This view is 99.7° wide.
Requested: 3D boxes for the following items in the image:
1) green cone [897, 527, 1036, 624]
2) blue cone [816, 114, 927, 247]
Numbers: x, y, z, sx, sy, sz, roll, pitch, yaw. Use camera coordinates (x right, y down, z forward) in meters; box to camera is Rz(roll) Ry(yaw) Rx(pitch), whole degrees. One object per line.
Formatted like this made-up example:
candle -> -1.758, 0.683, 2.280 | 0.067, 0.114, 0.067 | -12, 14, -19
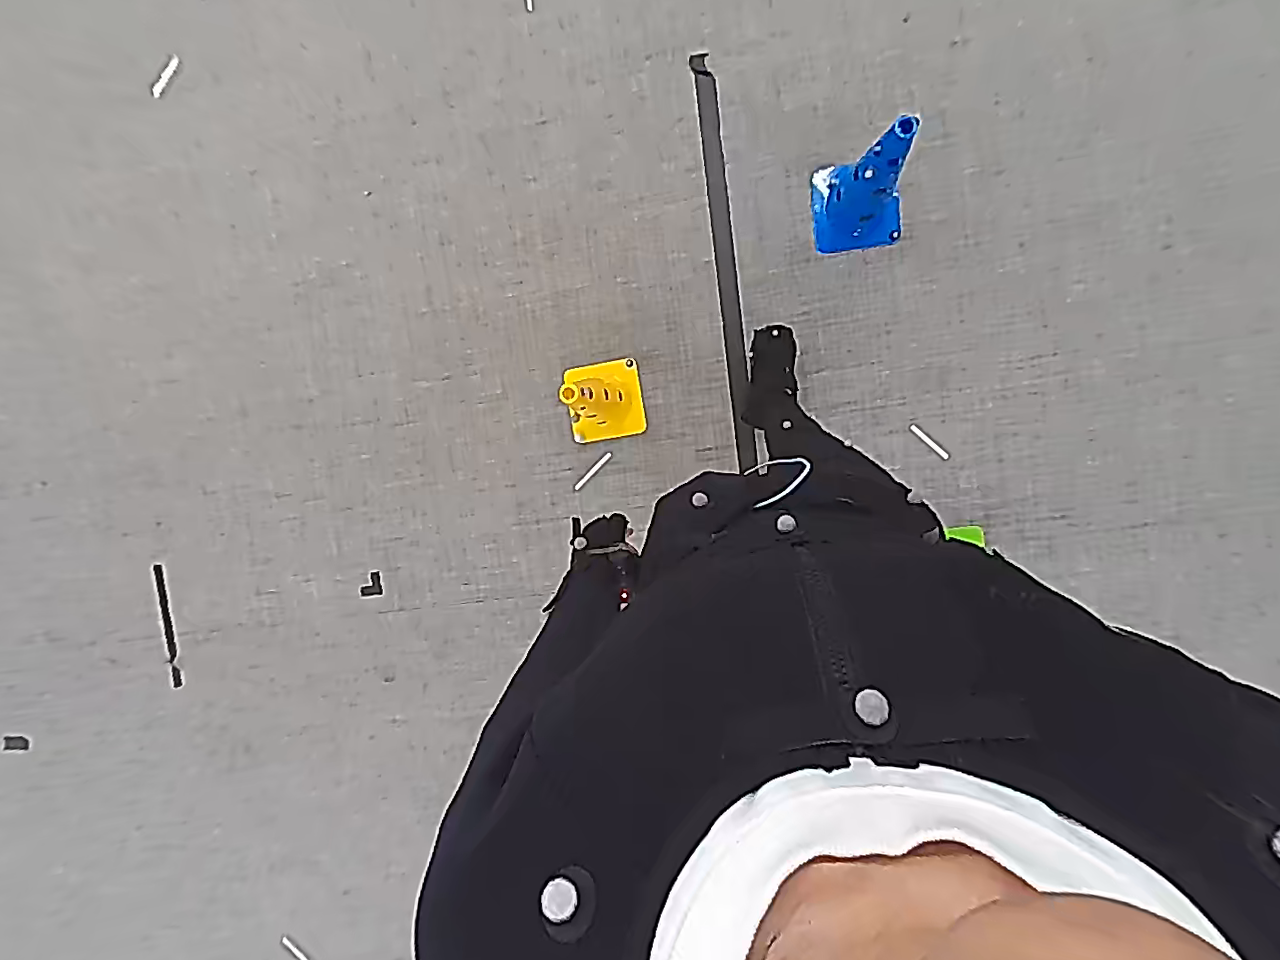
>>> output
green cone -> 0.731, 0.239, 1.179 | 0.202, 0.368, 0.200 | -7, 94, 7
blue cone -> 0.506, -0.652, 1.149 | 0.192, 0.380, 0.193 | -3, 95, 7
